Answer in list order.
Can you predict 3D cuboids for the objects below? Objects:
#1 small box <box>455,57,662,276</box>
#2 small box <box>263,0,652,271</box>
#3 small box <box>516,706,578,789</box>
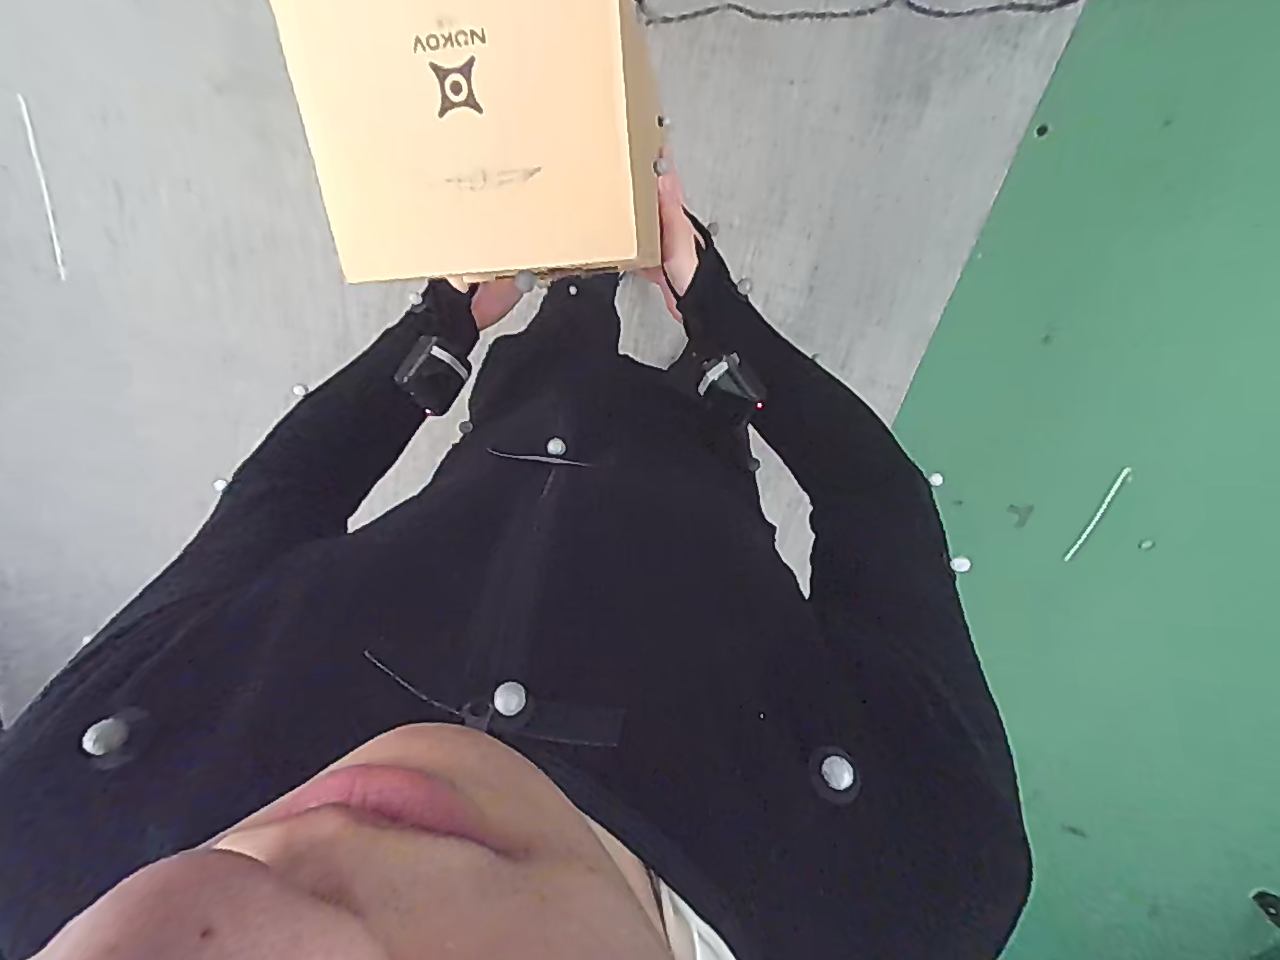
[{"bbox_3d":[-0.071,-0.282,0.478,0.168,0.176,0.179,-2,112,7],"label":"small box"},{"bbox_3d":[-0.083,-0.225,0.326,0.168,0.176,0.179,-1,113,7],"label":"small box"},{"bbox_3d":[-0.311,0.899,1.830,0.168,0.176,0.179,9,115,4],"label":"small box"}]
